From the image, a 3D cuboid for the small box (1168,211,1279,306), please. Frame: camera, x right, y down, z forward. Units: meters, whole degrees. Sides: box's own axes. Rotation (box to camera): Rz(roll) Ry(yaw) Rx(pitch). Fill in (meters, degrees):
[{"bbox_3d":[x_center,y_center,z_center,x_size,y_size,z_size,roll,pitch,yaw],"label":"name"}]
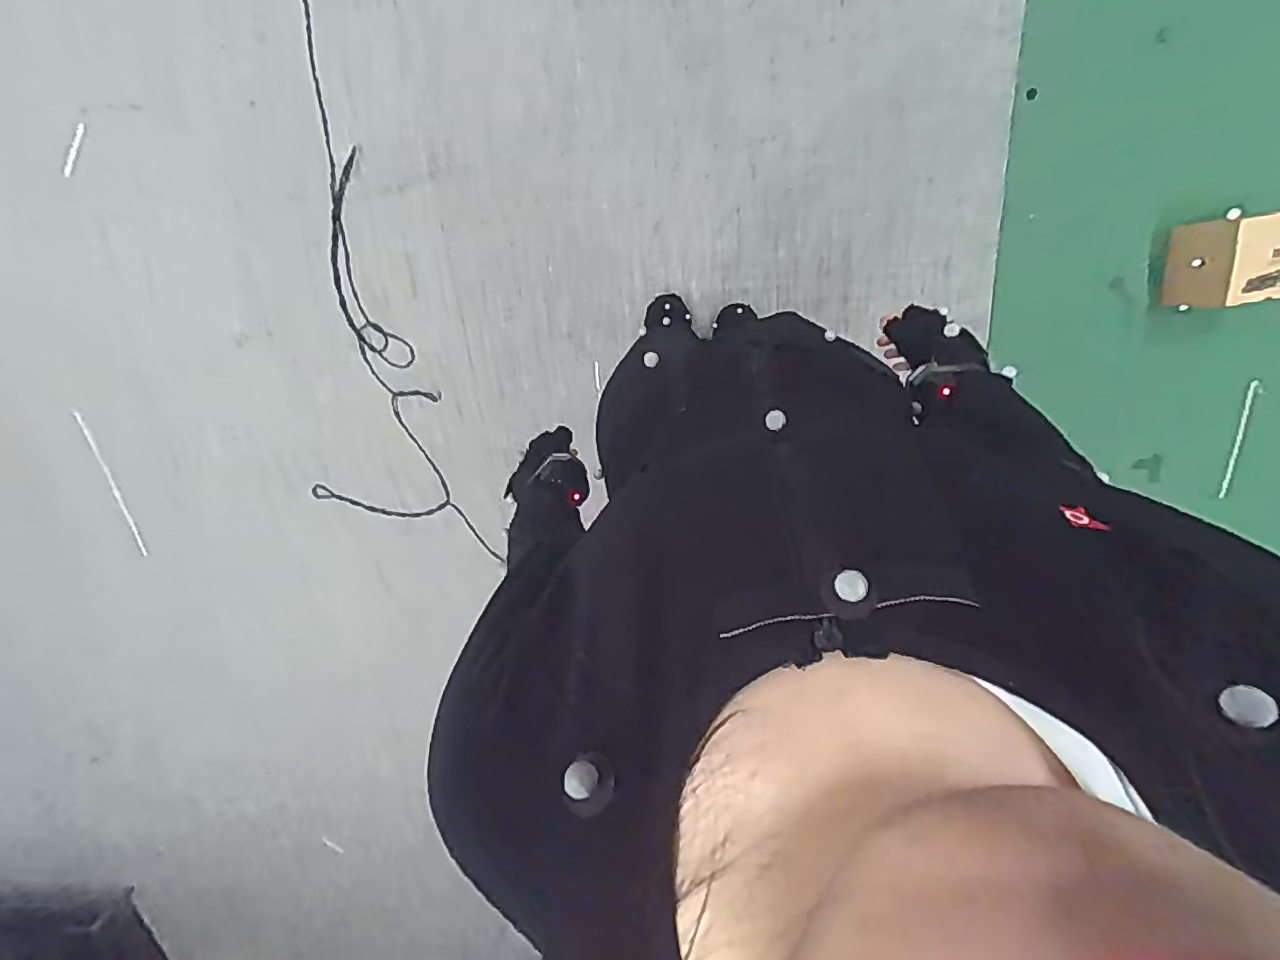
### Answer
[{"bbox_3d":[1.319,-0.485,1.182,0.168,0.176,0.179,-7,108,6],"label":"small box"}]
